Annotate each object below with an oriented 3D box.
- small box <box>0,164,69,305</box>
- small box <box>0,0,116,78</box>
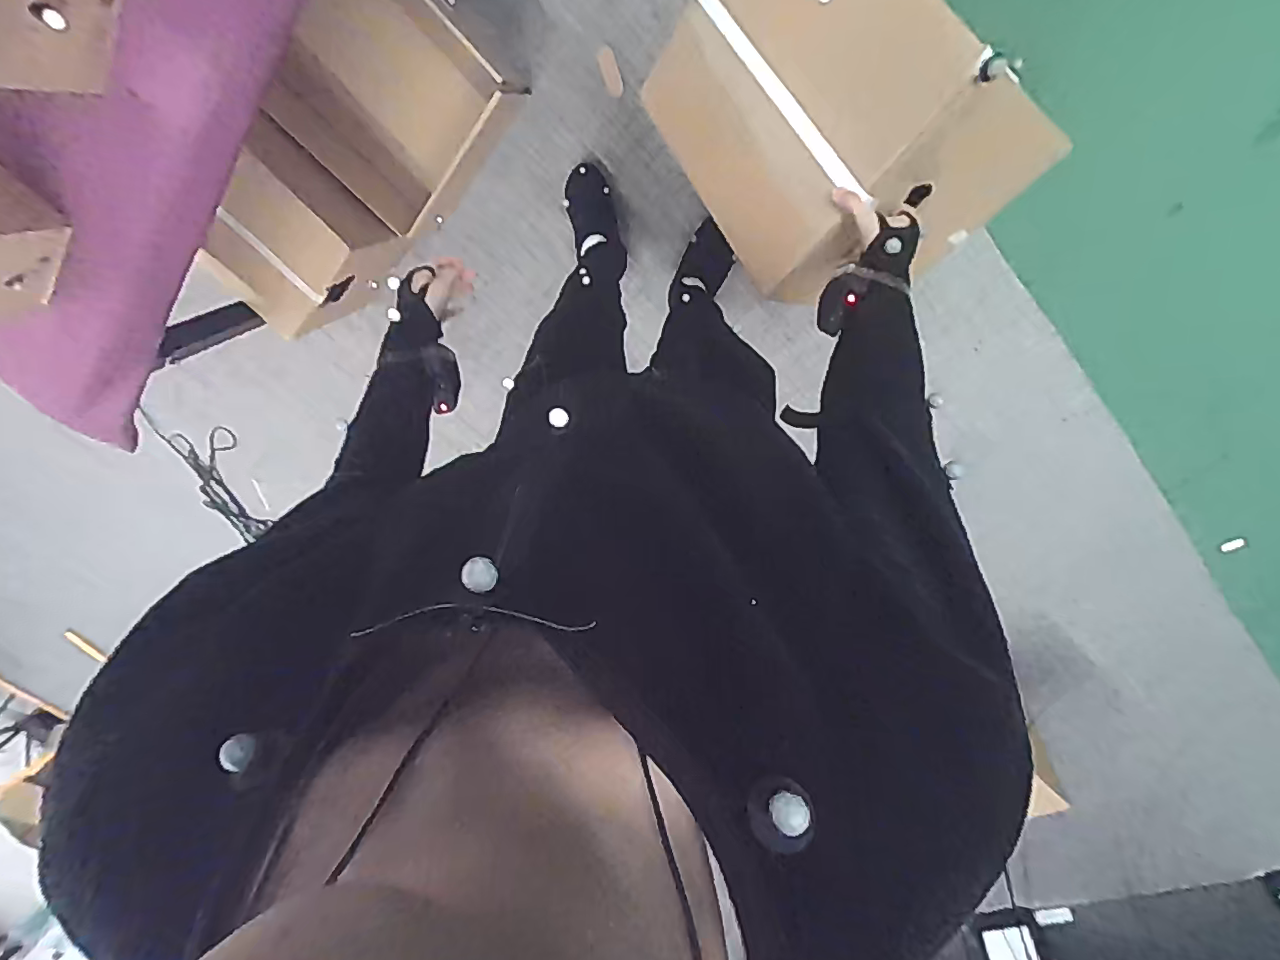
[{"bbox_3d":[-0.876,-0.316,0.652,0.168,0.176,0.179,-35,111,28],"label":"small box"},{"bbox_3d":[-0.623,-0.499,0.482,0.179,0.176,0.168,41,121,-15],"label":"small box"}]
